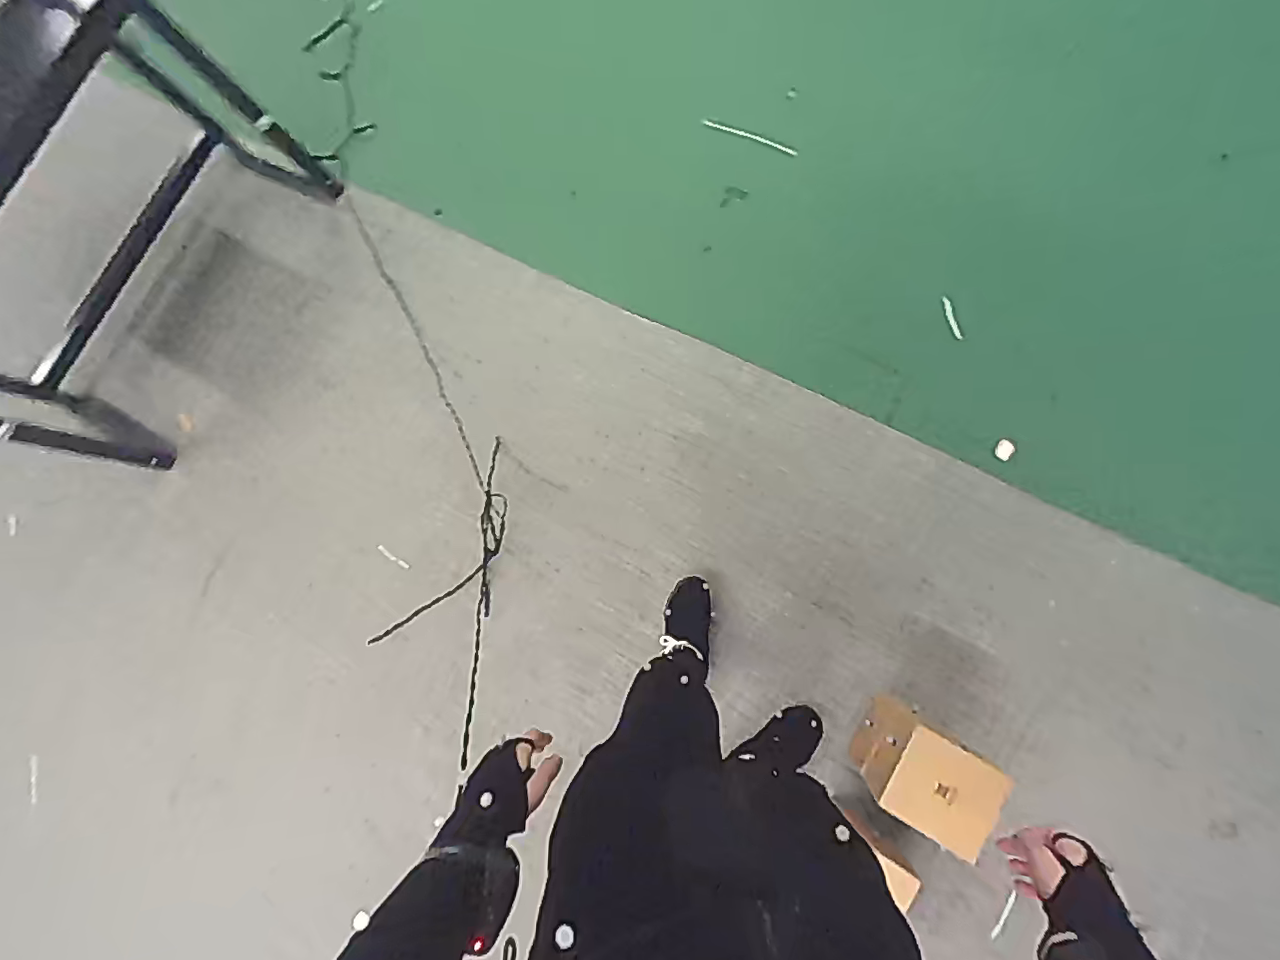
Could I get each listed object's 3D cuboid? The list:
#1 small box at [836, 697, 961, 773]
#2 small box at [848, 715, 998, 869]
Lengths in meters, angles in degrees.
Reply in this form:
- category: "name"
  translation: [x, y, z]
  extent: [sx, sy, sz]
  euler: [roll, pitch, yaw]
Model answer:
- category: "small box"
  translation: [0.556, 0.602, 1.189]
  extent: [0.179, 0.176, 0.168]
  euler: [34, 89, 15]
- category: "small box"
  translation: [0.524, 0.576, 1.032]
  extent: [0.179, 0.176, 0.168]
  euler: [31, 87, 14]
